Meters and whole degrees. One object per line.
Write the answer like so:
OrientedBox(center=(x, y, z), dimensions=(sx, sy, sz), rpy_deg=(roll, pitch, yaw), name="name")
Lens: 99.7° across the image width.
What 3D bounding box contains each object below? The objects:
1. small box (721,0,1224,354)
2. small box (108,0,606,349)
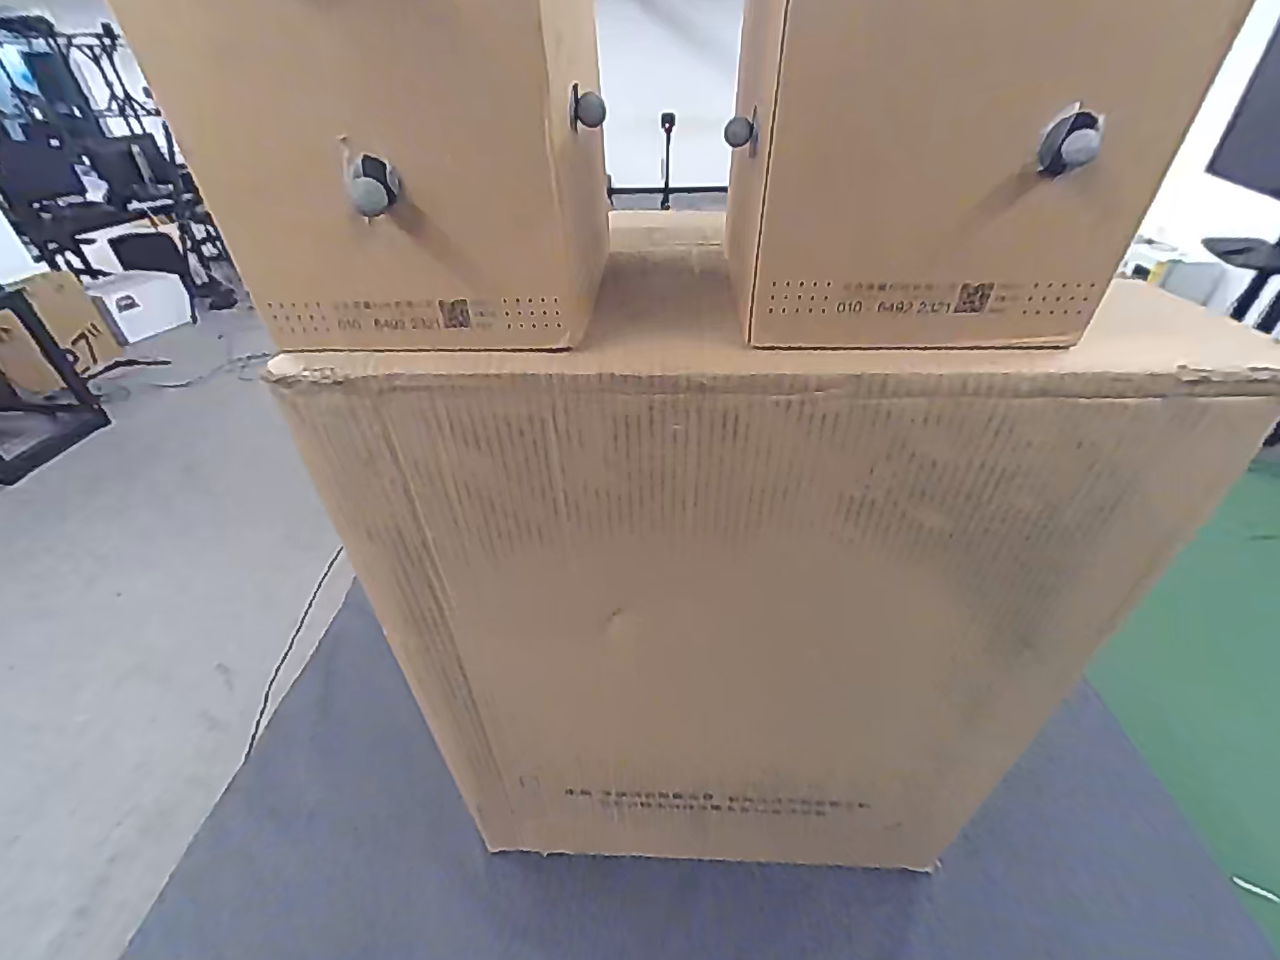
OrientedBox(center=(0.136, -0.178, 0.289), dimensions=(0.168, 0.176, 0.179), rpy_deg=(2, 38, 2), name="small box")
OrientedBox(center=(-0.112, -0.185, 0.303), dimensions=(0.168, 0.176, 0.179), rpy_deg=(1, 40, 4), name="small box")
